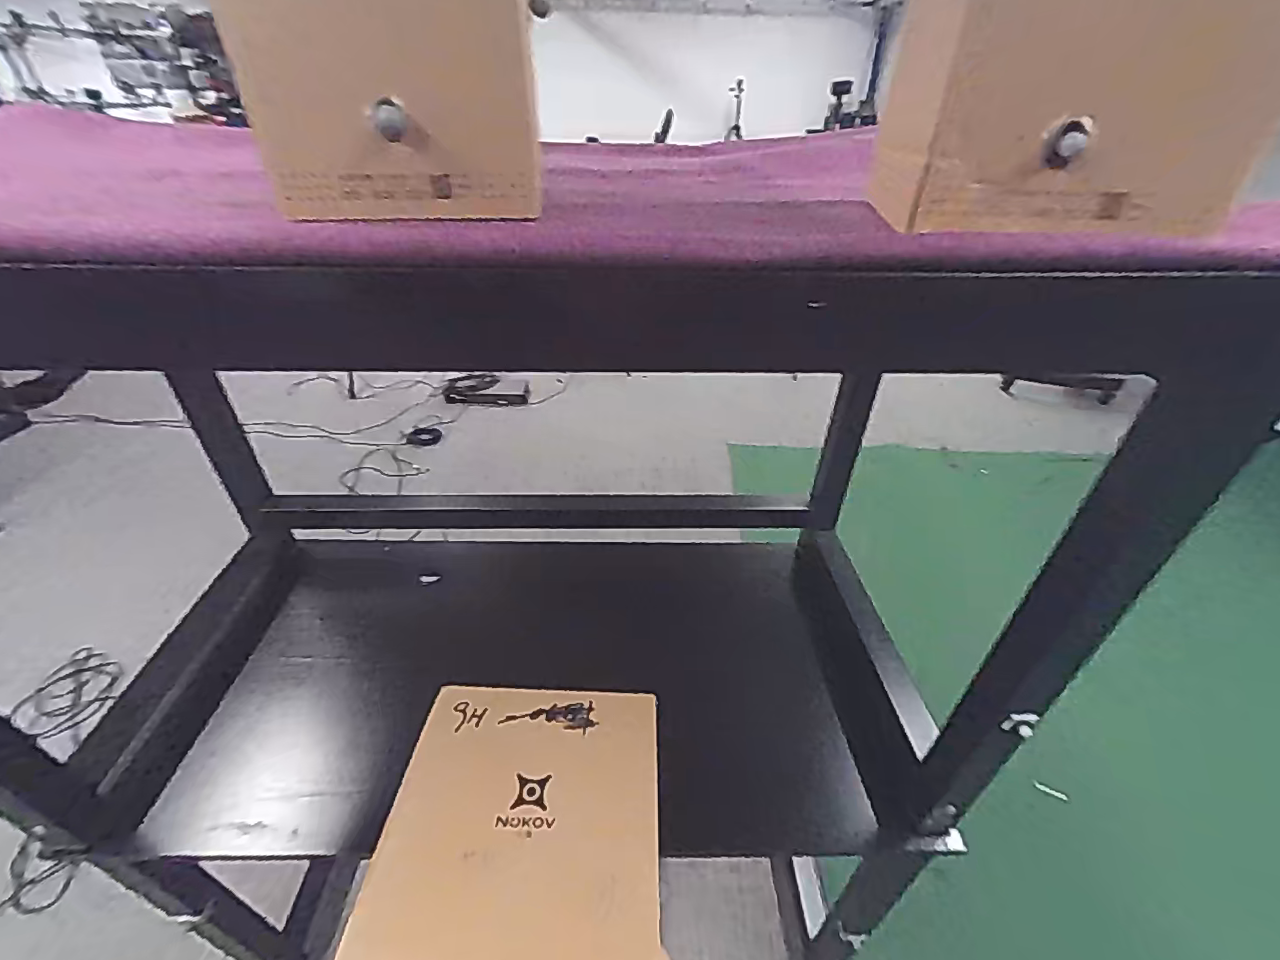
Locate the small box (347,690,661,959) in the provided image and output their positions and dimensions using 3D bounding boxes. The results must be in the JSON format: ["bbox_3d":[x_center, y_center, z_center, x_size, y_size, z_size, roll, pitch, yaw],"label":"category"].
[{"bbox_3d":[-0.070,0.277,0.380,0.168,0.176,0.179,3,32,-1],"label":"small box"}]

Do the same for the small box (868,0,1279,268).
[{"bbox_3d":[0.261,-0.250,0.347,0.168,0.176,0.179,6,38,7],"label":"small box"}]
